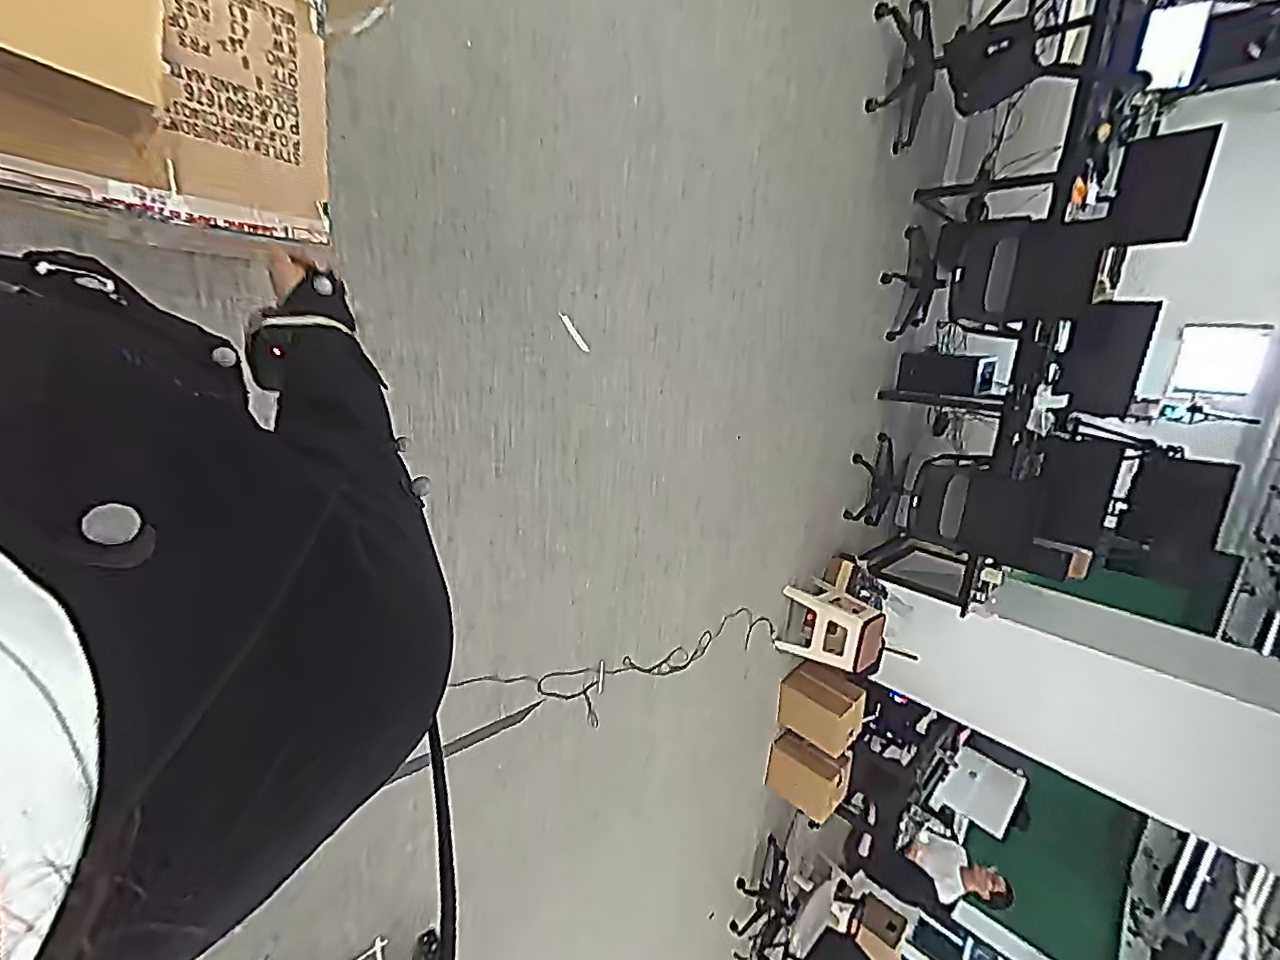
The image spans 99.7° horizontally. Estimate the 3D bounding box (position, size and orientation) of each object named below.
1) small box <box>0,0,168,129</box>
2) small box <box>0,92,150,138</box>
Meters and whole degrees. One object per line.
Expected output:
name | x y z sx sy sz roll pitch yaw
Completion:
small box | -0.464 -0.383 0.390 0.179 0.176 0.168 2 104 -46
small box | -0.571 -0.442 0.498 0.179 0.176 0.168 -6 110 -46
